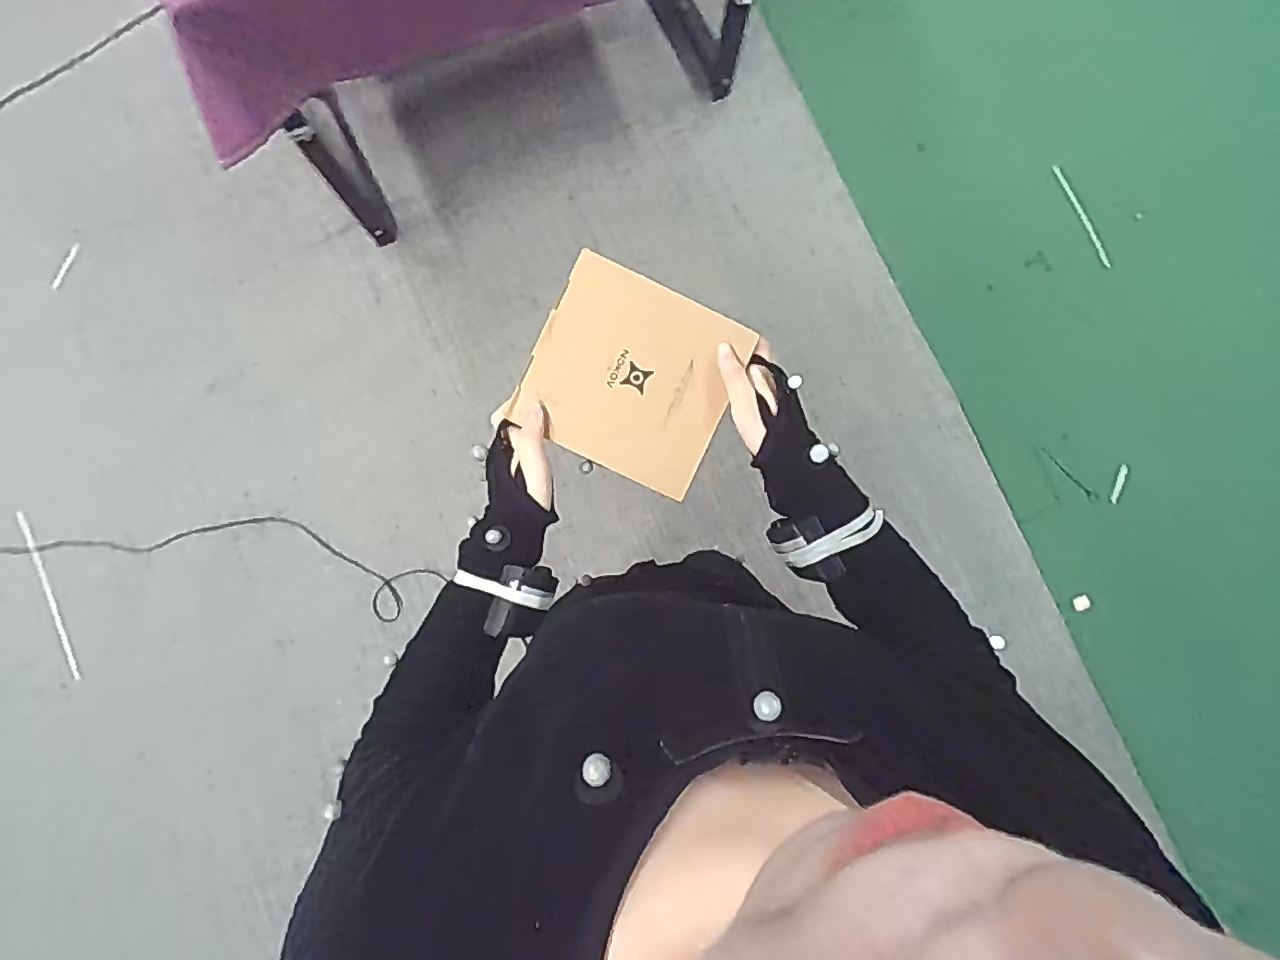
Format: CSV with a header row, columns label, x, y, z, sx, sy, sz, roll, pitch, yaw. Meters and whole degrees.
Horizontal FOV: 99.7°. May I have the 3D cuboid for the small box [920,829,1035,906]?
label,x,y,z,sx,sy,sz,roll,pitch,yaw
small box,0.685,0.856,1.084,0.168,0.176,0.179,-23,89,-6
